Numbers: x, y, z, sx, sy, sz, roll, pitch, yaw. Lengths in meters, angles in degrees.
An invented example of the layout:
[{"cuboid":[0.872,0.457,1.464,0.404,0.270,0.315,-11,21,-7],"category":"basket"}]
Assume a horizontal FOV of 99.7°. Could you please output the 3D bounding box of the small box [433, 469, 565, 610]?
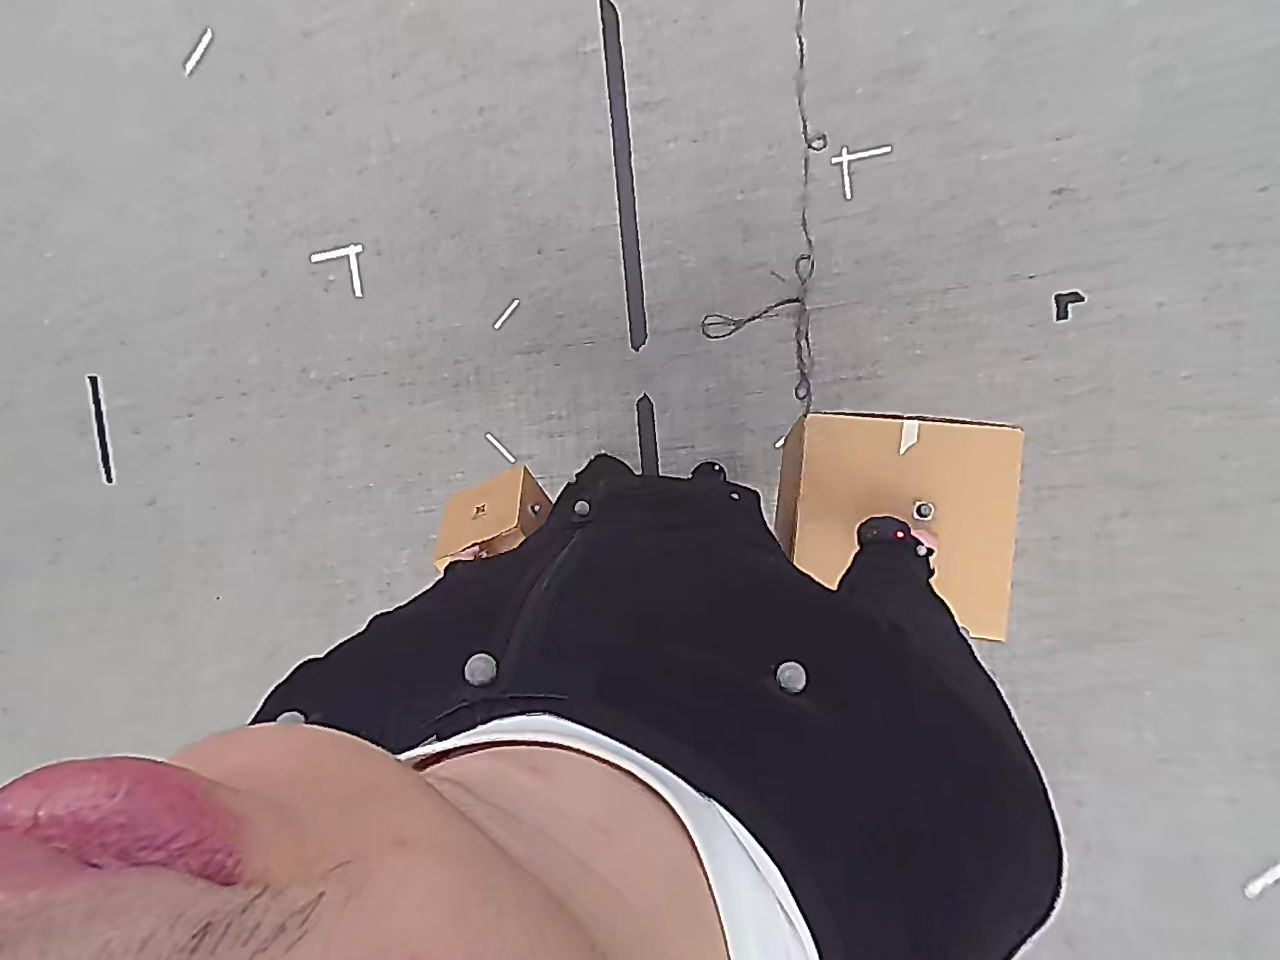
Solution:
[{"cuboid":[-0.247,0.117,0.996,0.168,0.179,0.176,-22,126,9],"category":"small box"}]
